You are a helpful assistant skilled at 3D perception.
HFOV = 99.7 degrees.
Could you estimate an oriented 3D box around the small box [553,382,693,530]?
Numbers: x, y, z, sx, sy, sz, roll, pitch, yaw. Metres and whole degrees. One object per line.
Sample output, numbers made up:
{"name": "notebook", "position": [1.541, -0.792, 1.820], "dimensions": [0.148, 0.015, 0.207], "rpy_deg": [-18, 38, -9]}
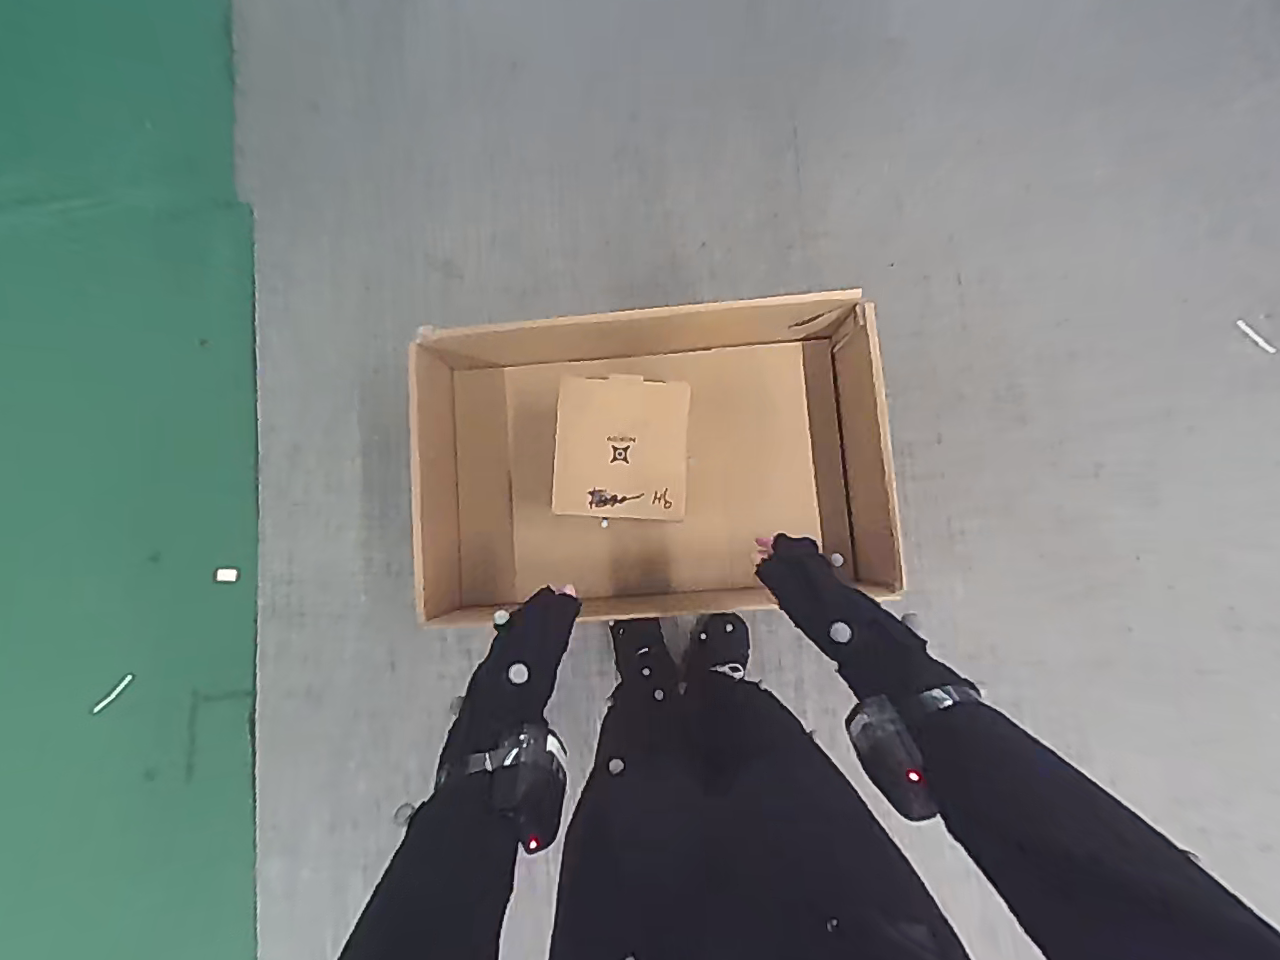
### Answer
{"name": "small box", "position": [-0.017, -0.024, 0.750], "dimensions": [0.168, 0.176, 0.179], "rpy_deg": [3, 84, 4]}
